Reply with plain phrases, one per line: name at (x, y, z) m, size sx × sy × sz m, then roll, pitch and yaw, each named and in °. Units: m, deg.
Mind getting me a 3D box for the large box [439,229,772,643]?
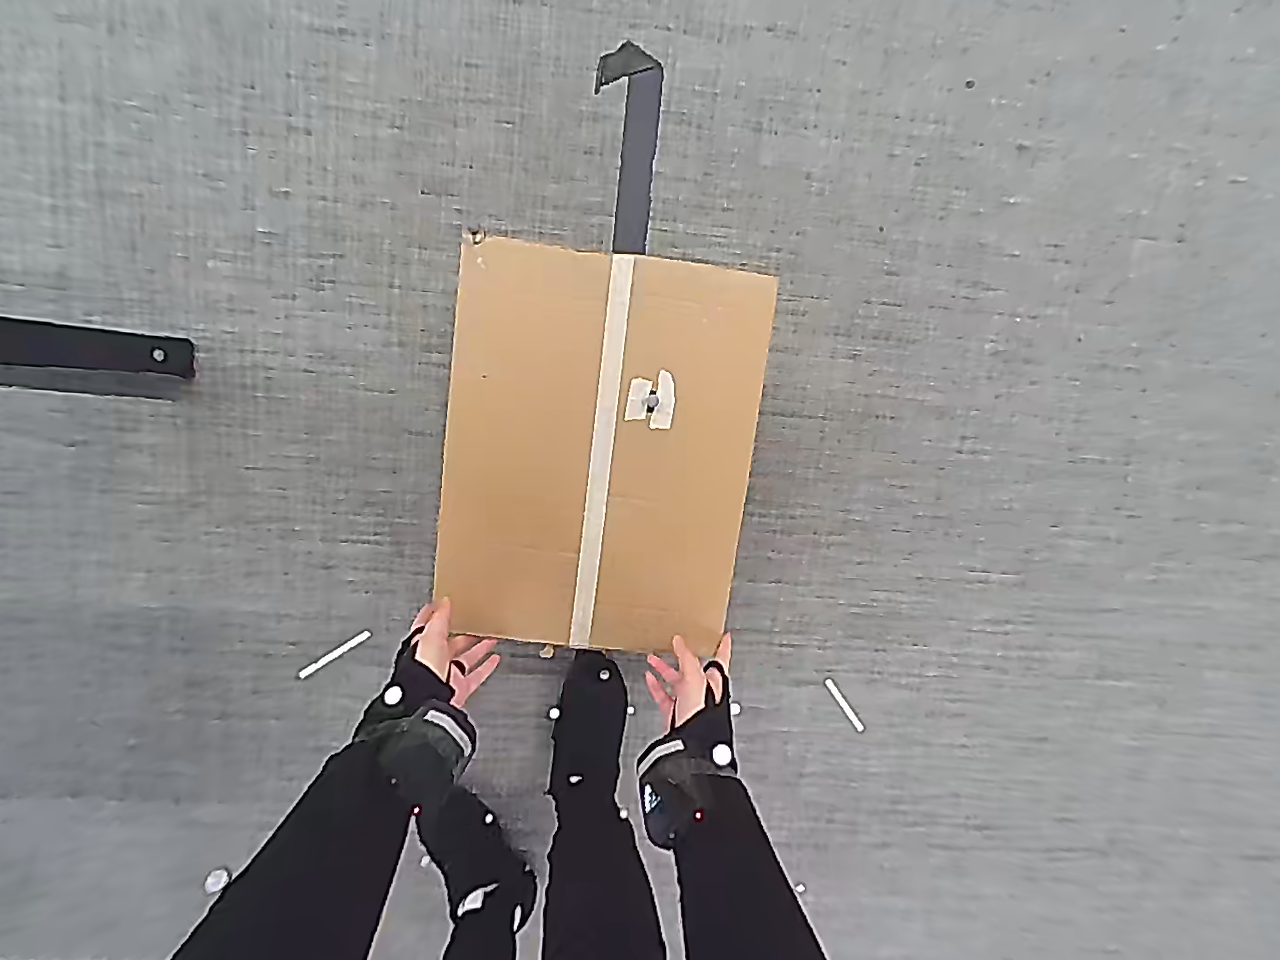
large box at (-0.045, -0.050, 0.702) m, size 0.320 × 0.320 × 0.408 m, roll 7°, pitch 97°, yaw -4°
